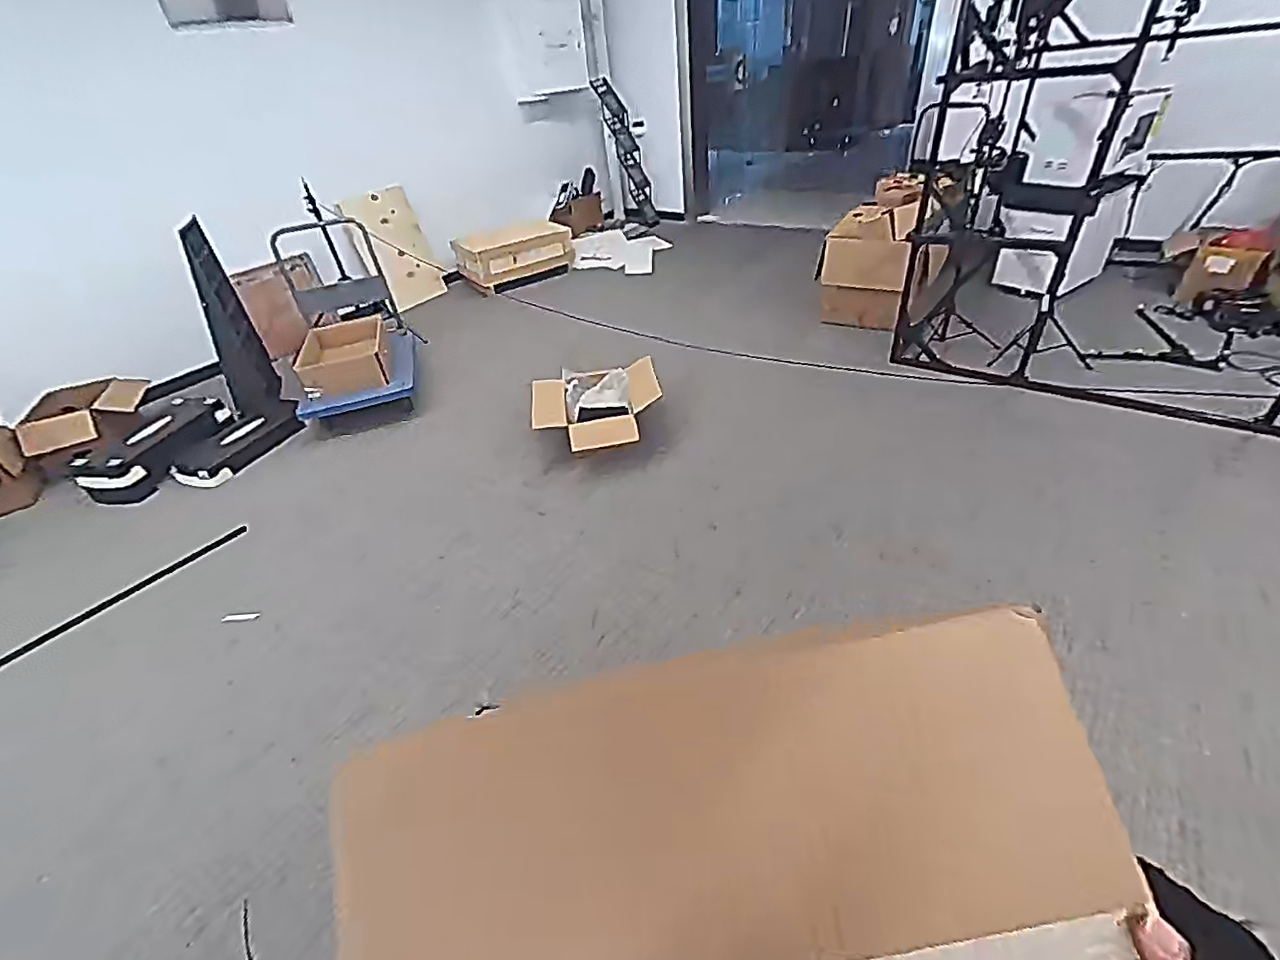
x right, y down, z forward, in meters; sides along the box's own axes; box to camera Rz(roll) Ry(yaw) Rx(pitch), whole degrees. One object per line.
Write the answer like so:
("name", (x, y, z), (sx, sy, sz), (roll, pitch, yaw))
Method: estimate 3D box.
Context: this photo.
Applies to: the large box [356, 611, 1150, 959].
("large box", (0.066, 0.305, 0.420), (0.408, 0.320, 0.320), (-13, 75, 0))
